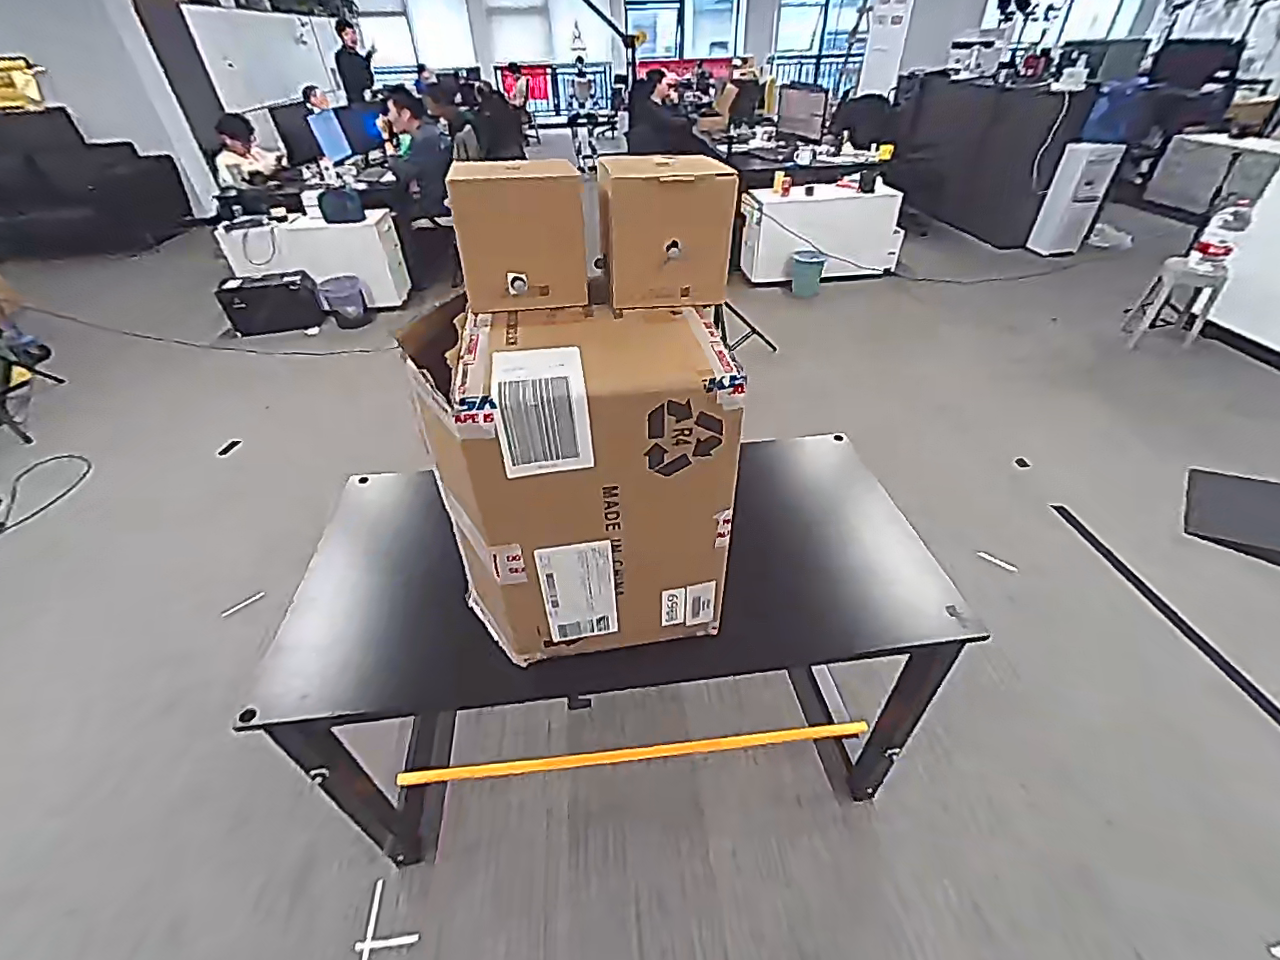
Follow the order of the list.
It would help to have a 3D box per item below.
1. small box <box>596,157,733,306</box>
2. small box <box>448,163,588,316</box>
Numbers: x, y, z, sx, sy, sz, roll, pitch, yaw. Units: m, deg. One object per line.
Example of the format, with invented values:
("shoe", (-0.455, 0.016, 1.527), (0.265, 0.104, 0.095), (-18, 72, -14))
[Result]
("small box", (0.027, -0.363, 0.794), (0.168, 0.176, 0.179), (-5, 39, -8))
("small box", (-0.171, -0.350, 0.782), (0.168, 0.176, 0.179), (-9, 38, -10))
